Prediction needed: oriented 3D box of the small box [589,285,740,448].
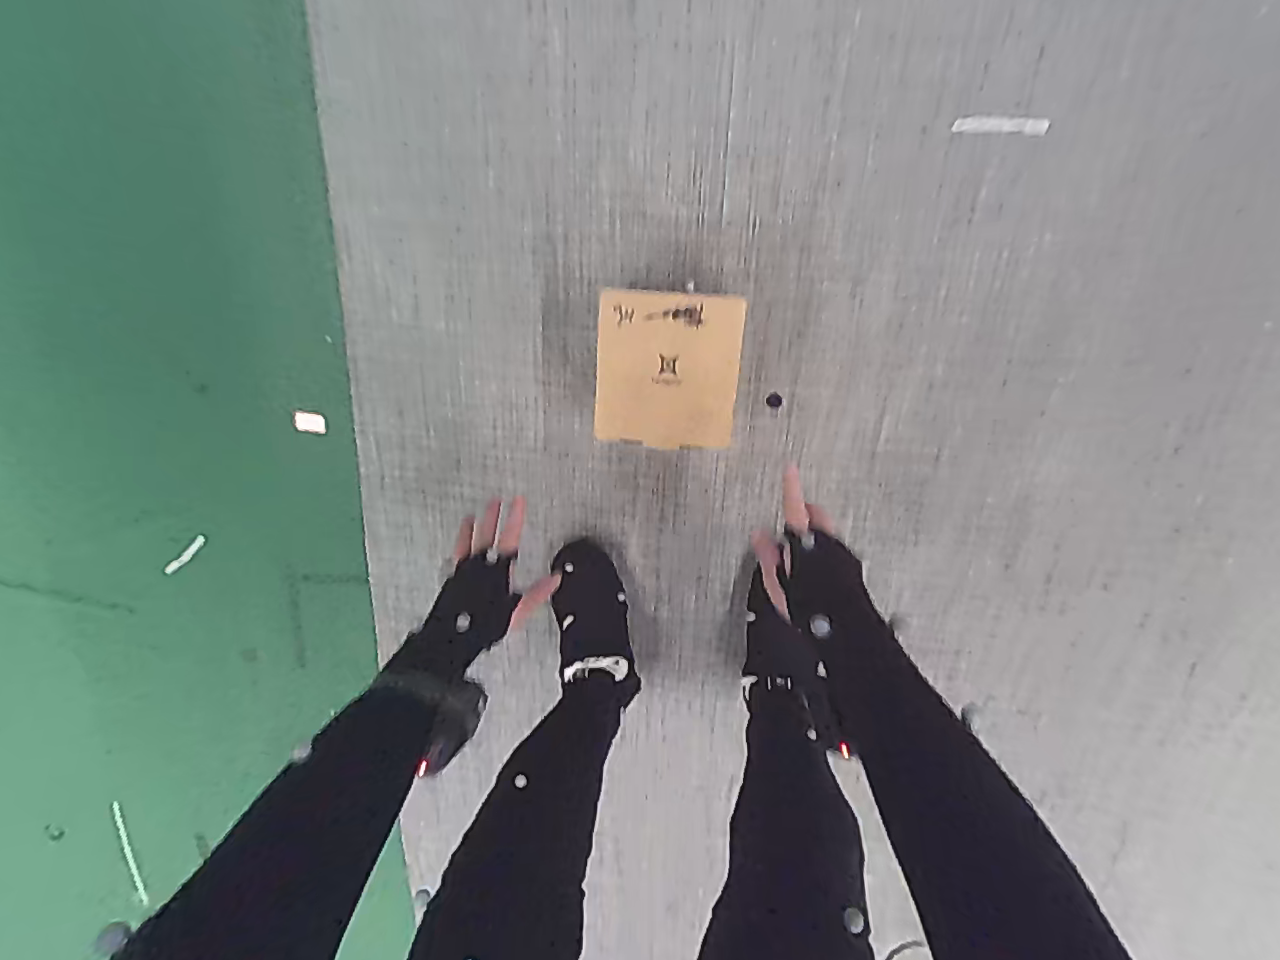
[{"bbox_3d":[0.033,-0.152,0.698,0.168,0.176,0.179,5,108,5],"label":"small box"}]
